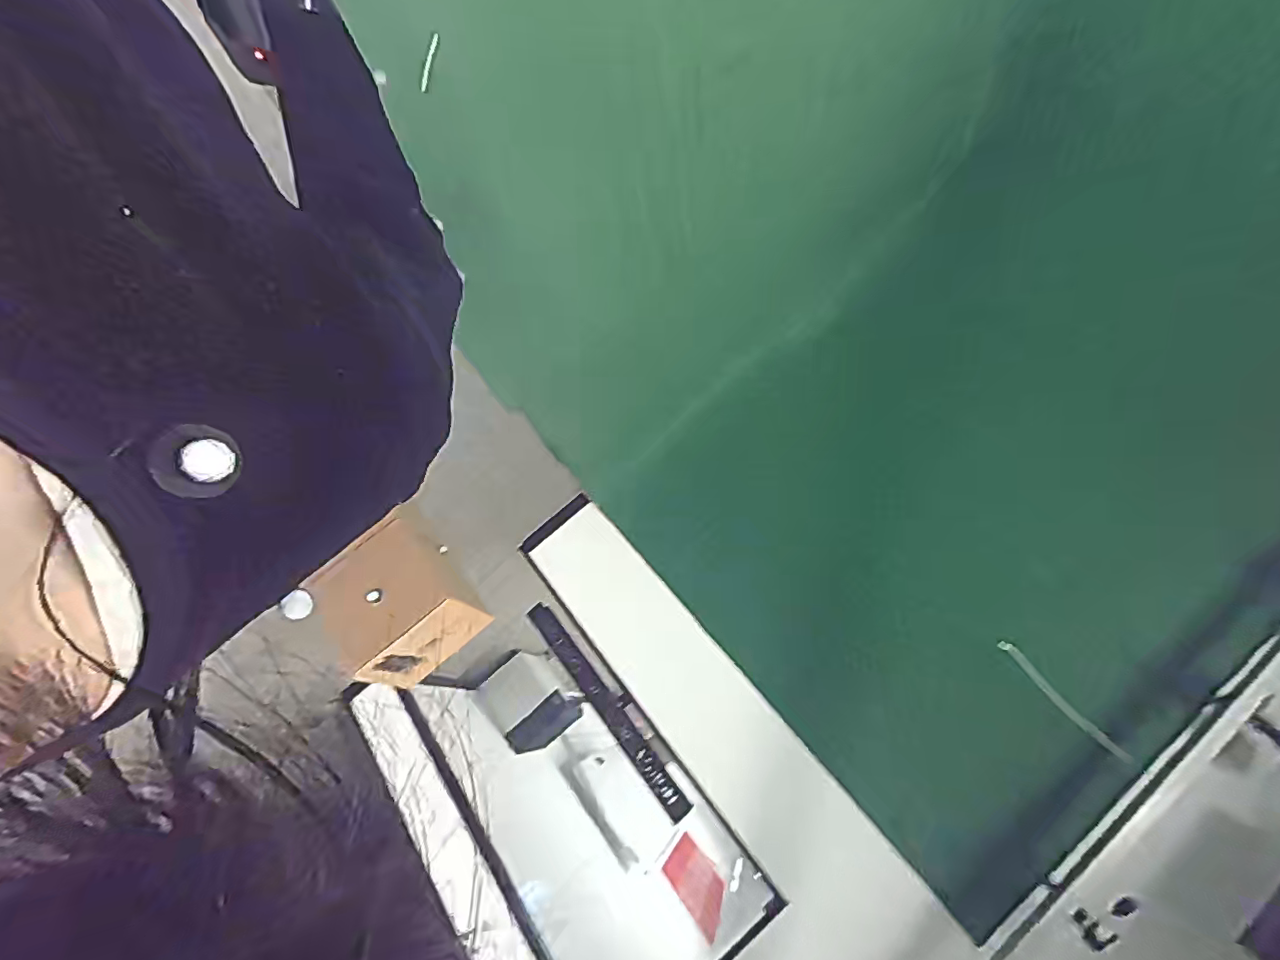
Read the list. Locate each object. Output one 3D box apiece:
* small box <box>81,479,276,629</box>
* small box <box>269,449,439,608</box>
[{"bbox_3d":[-0.783,0.123,0.923,0.168,0.176,0.179,-39,155,-10],"label":"small box"},{"bbox_3d":[-0.485,0.083,0.915,0.179,0.176,0.168,-39,157,-10],"label":"small box"}]
